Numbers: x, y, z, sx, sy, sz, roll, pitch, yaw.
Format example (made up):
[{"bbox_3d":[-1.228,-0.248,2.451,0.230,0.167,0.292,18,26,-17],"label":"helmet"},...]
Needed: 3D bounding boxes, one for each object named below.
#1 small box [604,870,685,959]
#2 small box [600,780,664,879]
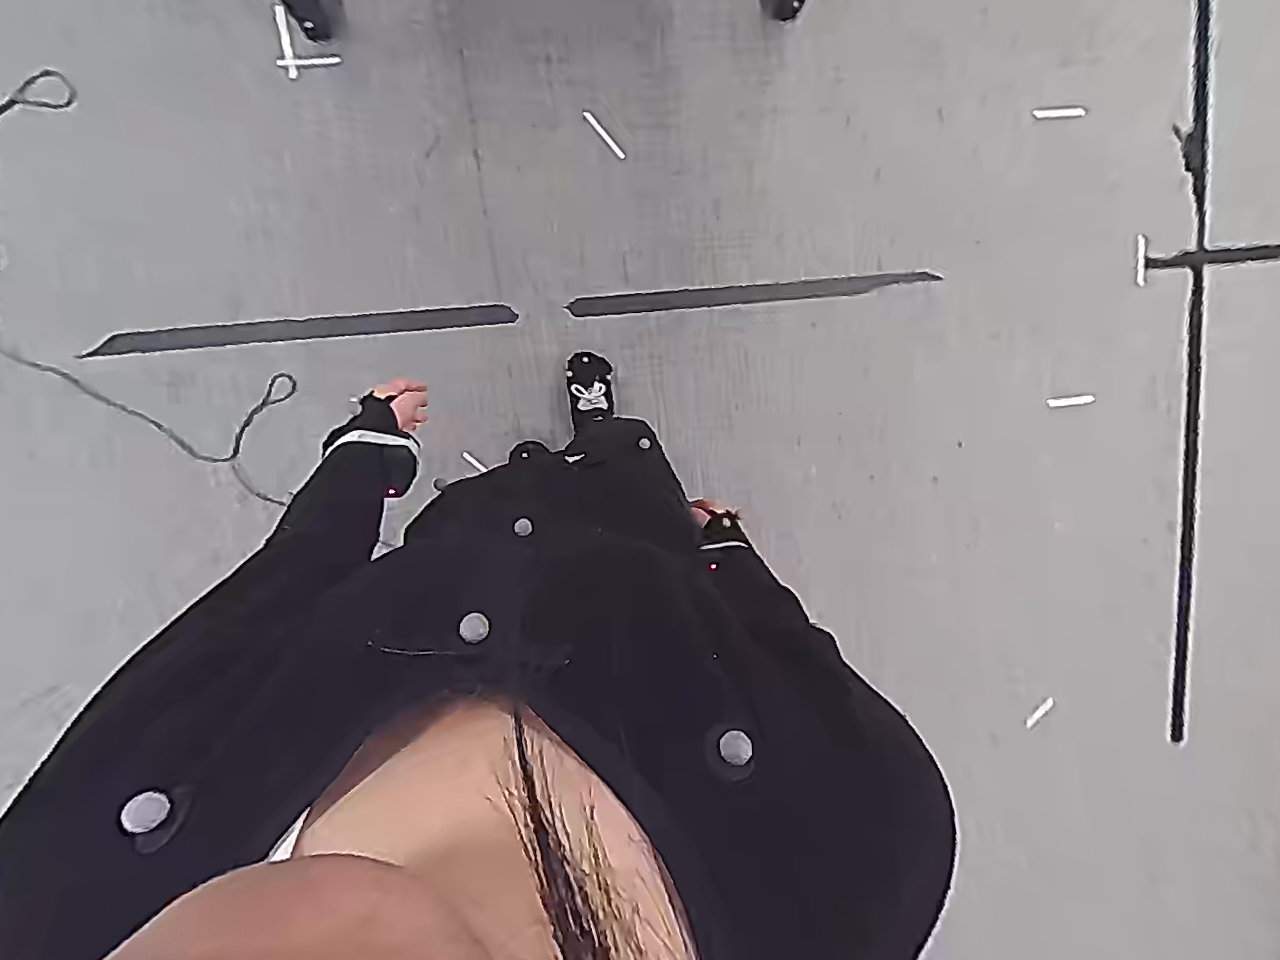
[{"bbox_3d":[0.009,1.042,1.229,0.168,0.176,0.179,-7,98,-6],"label":"small box"},{"bbox_3d":[-0.027,0.990,1.552,0.168,0.176,0.179,-5,99,-5],"label":"small box"}]
